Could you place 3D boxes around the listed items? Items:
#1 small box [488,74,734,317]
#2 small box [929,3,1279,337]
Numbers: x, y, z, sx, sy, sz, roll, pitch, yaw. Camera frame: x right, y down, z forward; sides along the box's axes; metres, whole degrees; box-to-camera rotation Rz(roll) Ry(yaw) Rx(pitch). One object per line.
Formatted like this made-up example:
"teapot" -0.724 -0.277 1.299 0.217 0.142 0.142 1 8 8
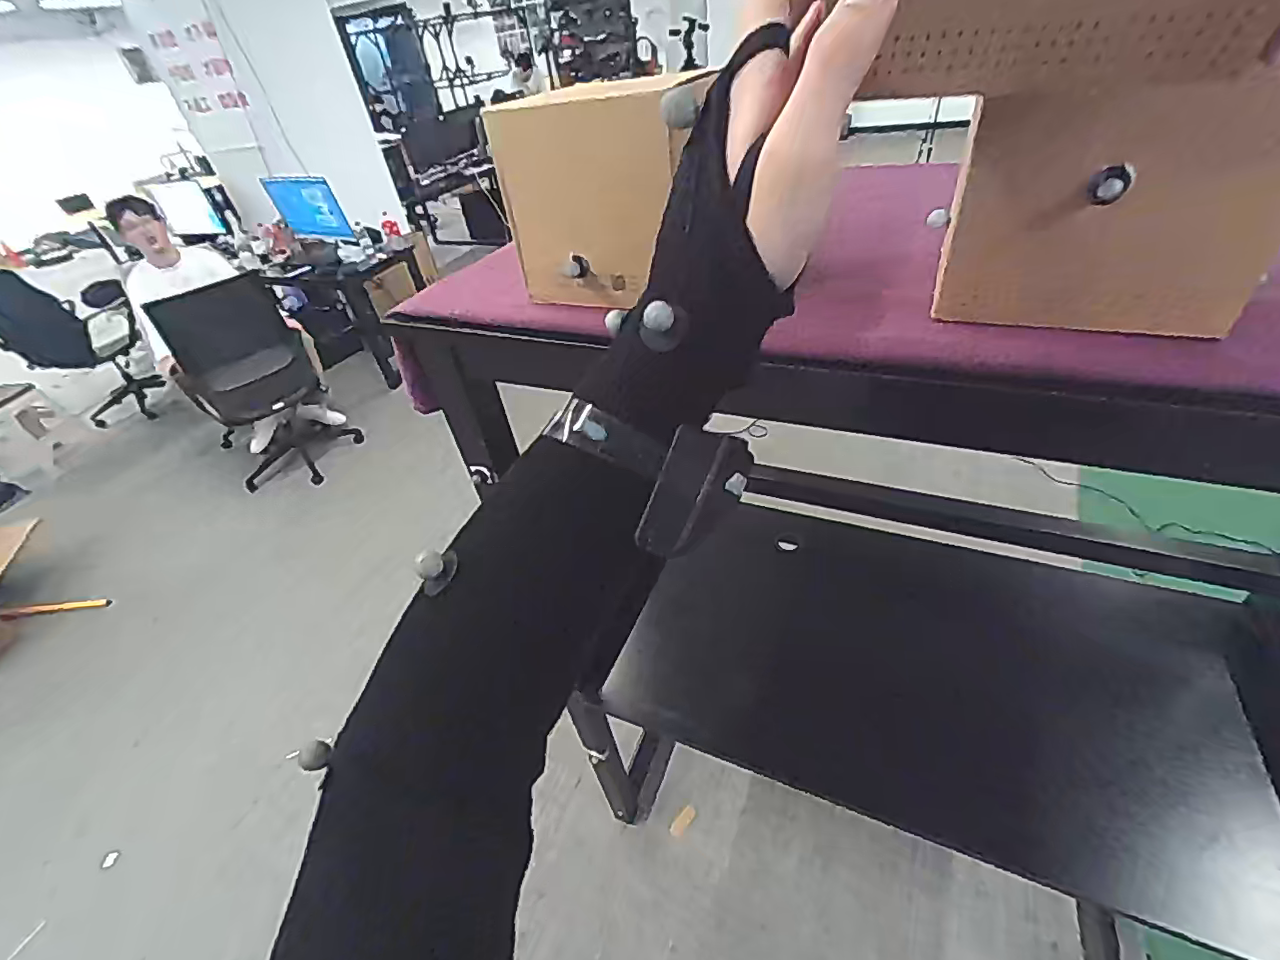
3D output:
"small box" -0.012 -0.275 0.524 0.168 0.176 0.179 10 43 22
"small box" 0.328 -0.216 0.389 0.179 0.176 0.168 11 42 25
